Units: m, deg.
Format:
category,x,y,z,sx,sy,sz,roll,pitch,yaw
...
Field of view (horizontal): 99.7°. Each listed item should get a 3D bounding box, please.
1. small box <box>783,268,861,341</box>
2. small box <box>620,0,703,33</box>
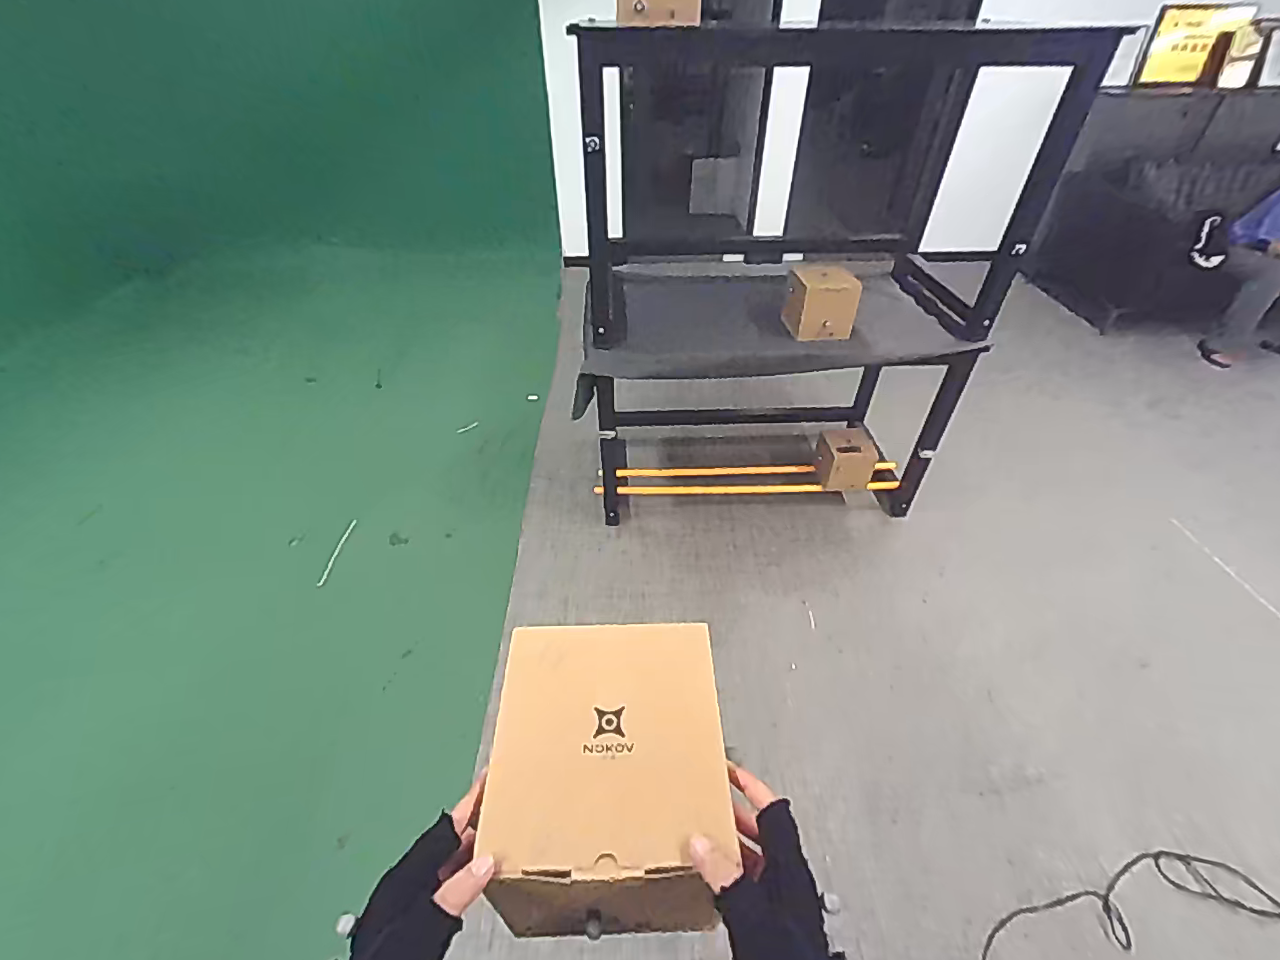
category,x,y,z,sx,sy,sz,roll,pitch,yaw
small box,0.551,-0.541,1.665,0.168,0.176,0.179,-3,40,-3
small box,0.044,-1.086,1.177,0.168,0.176,0.179,-4,40,-6
